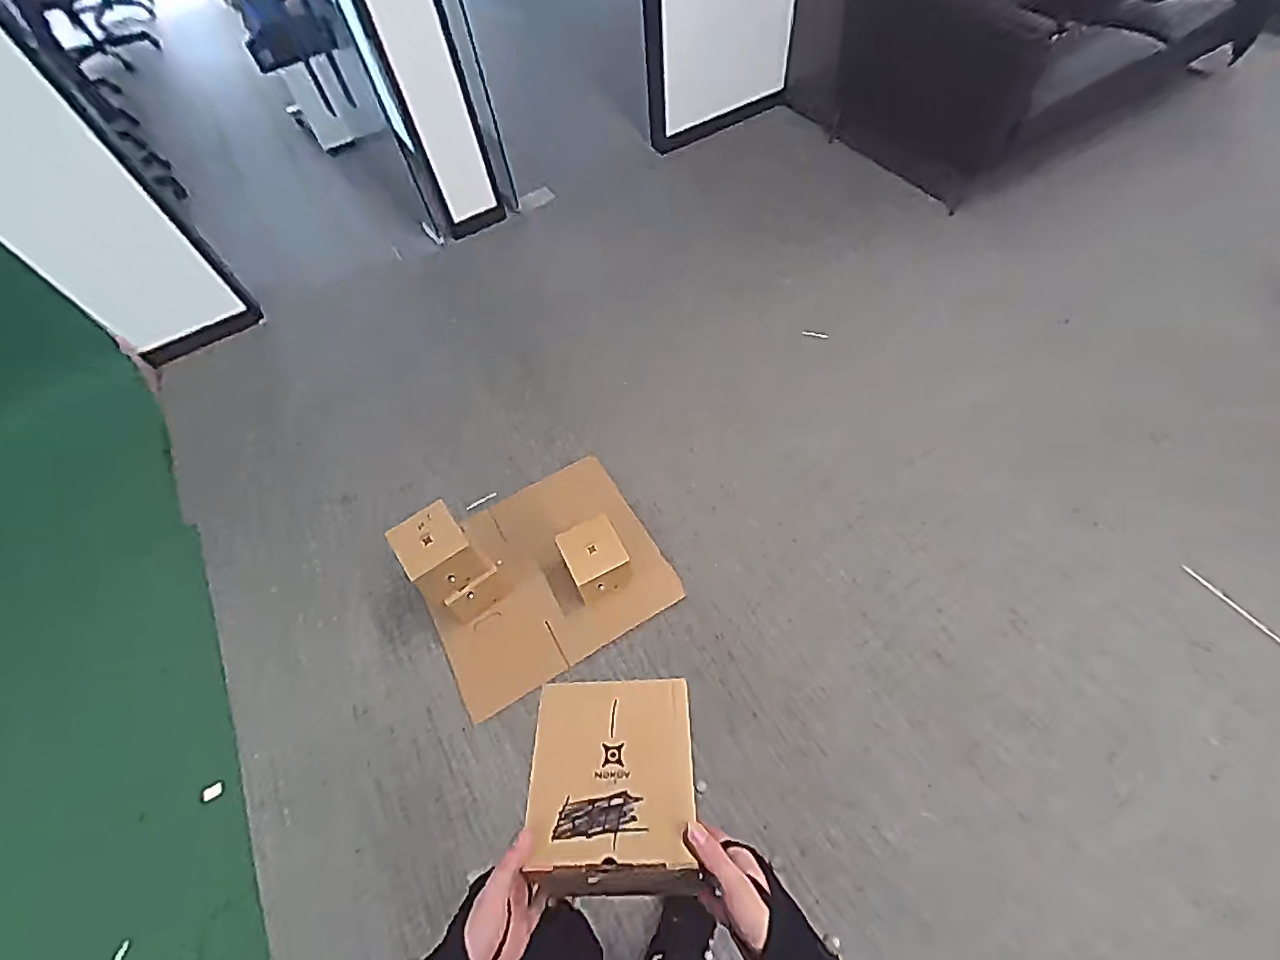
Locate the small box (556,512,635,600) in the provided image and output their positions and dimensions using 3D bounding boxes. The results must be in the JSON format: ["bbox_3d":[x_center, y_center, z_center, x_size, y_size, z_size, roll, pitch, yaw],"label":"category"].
[{"bbox_3d":[-0.125,0.232,1.584,0.168,0.176,0.179,-26,59,-10],"label":"small box"}]

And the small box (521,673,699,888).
[{"bbox_3d":[-0.022,0.337,0.601,0.168,0.176,0.179,-3,45,3],"label":"small box"}]

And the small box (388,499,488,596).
[{"bbox_3d":[-0.536,0.190,1.454,0.168,0.176,0.179,-33,61,-16],"label":"small box"}]

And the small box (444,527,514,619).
[{"bbox_3d":[-0.499,0.278,1.592,0.168,0.176,0.179,-34,61,-15],"label":"small box"}]
